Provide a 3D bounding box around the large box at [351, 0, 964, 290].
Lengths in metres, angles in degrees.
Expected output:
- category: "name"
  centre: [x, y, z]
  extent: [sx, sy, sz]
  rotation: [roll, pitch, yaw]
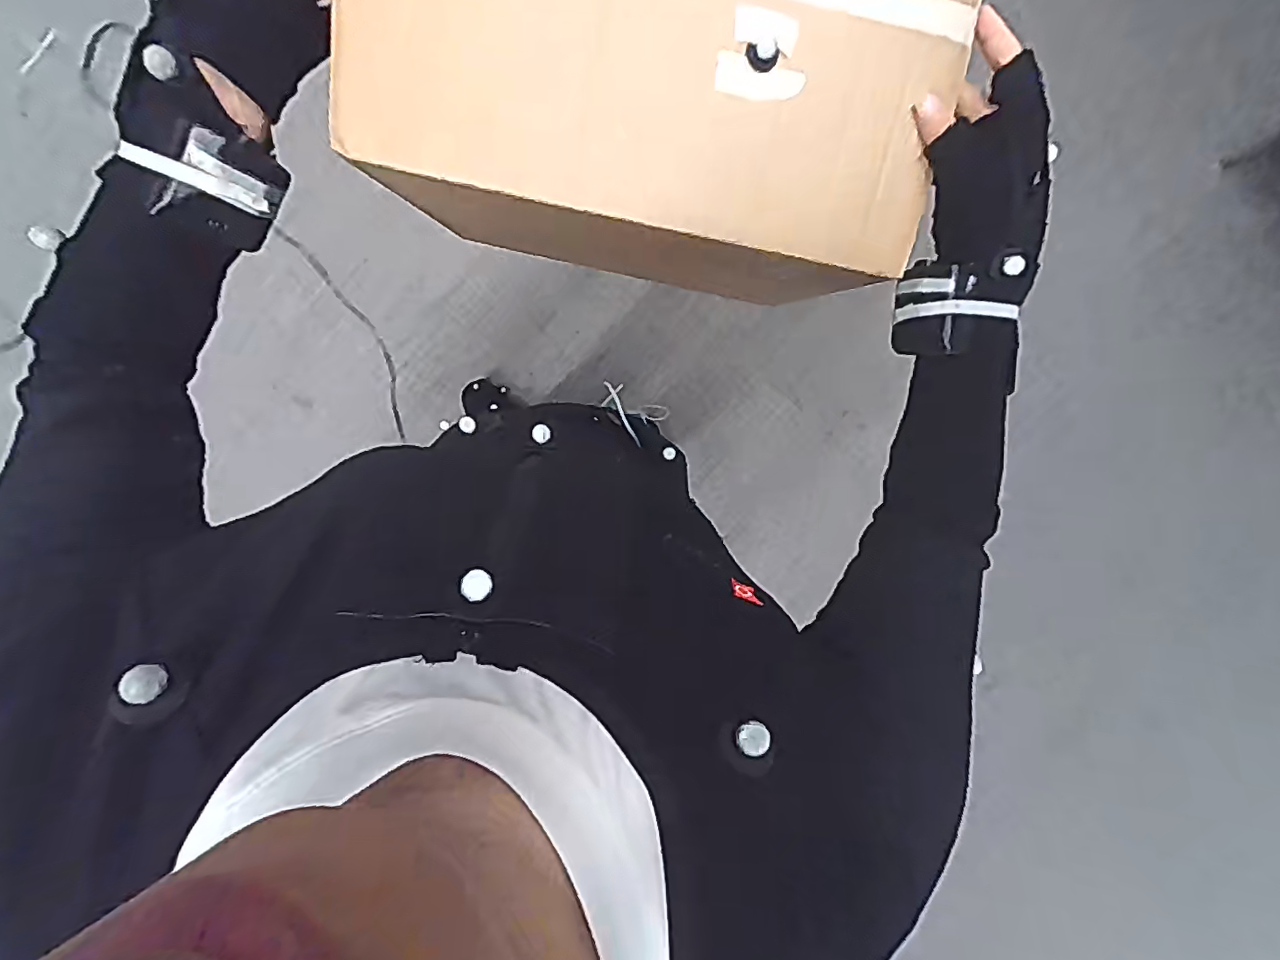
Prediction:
- category: "large box"
  centre: [0.012, -0.377, 0.493]
  extent: [0.408, 0.320, 0.320]
  rotation: [9, 105, -5]
